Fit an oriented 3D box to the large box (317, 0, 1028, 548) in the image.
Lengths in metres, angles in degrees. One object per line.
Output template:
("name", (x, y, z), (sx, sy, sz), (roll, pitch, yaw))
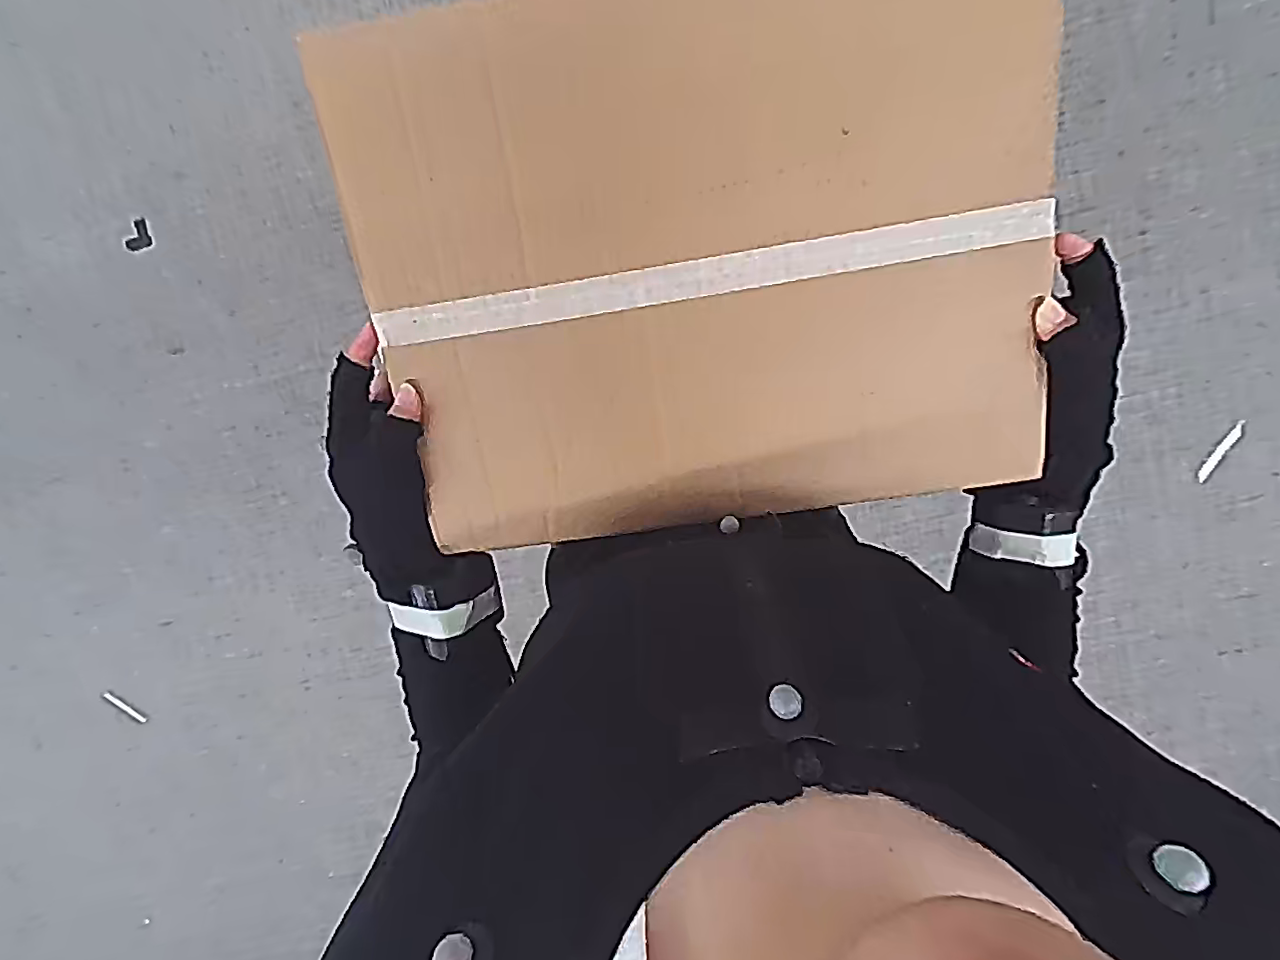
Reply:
("large box", (0.036, -0.167, 0.479), (0.408, 0.320, 0.320), (-8, 105, 4))
